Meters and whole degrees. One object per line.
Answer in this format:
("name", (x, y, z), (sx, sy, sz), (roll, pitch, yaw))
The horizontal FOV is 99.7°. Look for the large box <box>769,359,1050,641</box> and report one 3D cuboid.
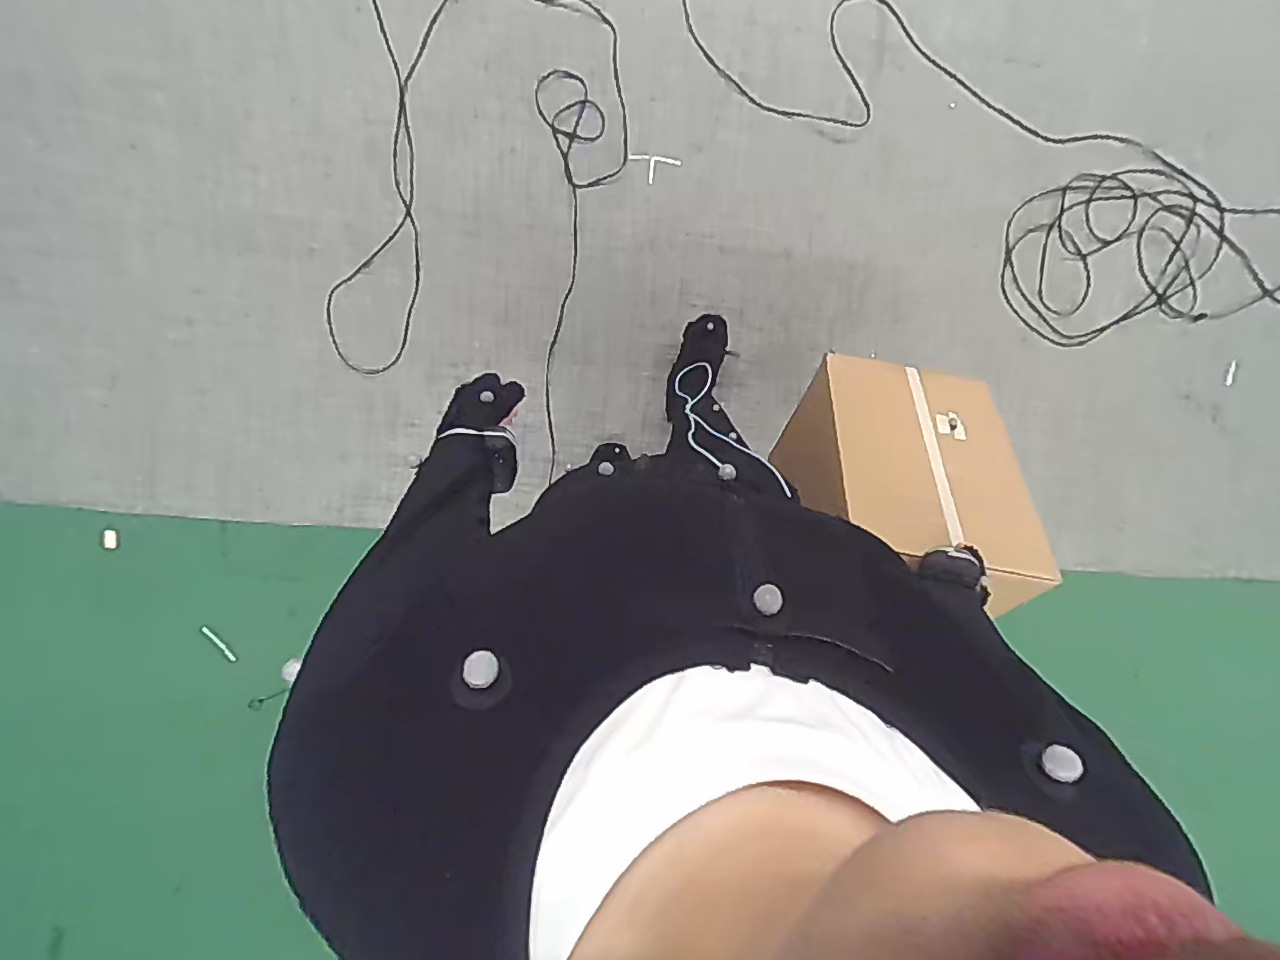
("large box", (0.444, 0.044, 1.009), (0.320, 0.320, 0.408), (10, 53, -4))
